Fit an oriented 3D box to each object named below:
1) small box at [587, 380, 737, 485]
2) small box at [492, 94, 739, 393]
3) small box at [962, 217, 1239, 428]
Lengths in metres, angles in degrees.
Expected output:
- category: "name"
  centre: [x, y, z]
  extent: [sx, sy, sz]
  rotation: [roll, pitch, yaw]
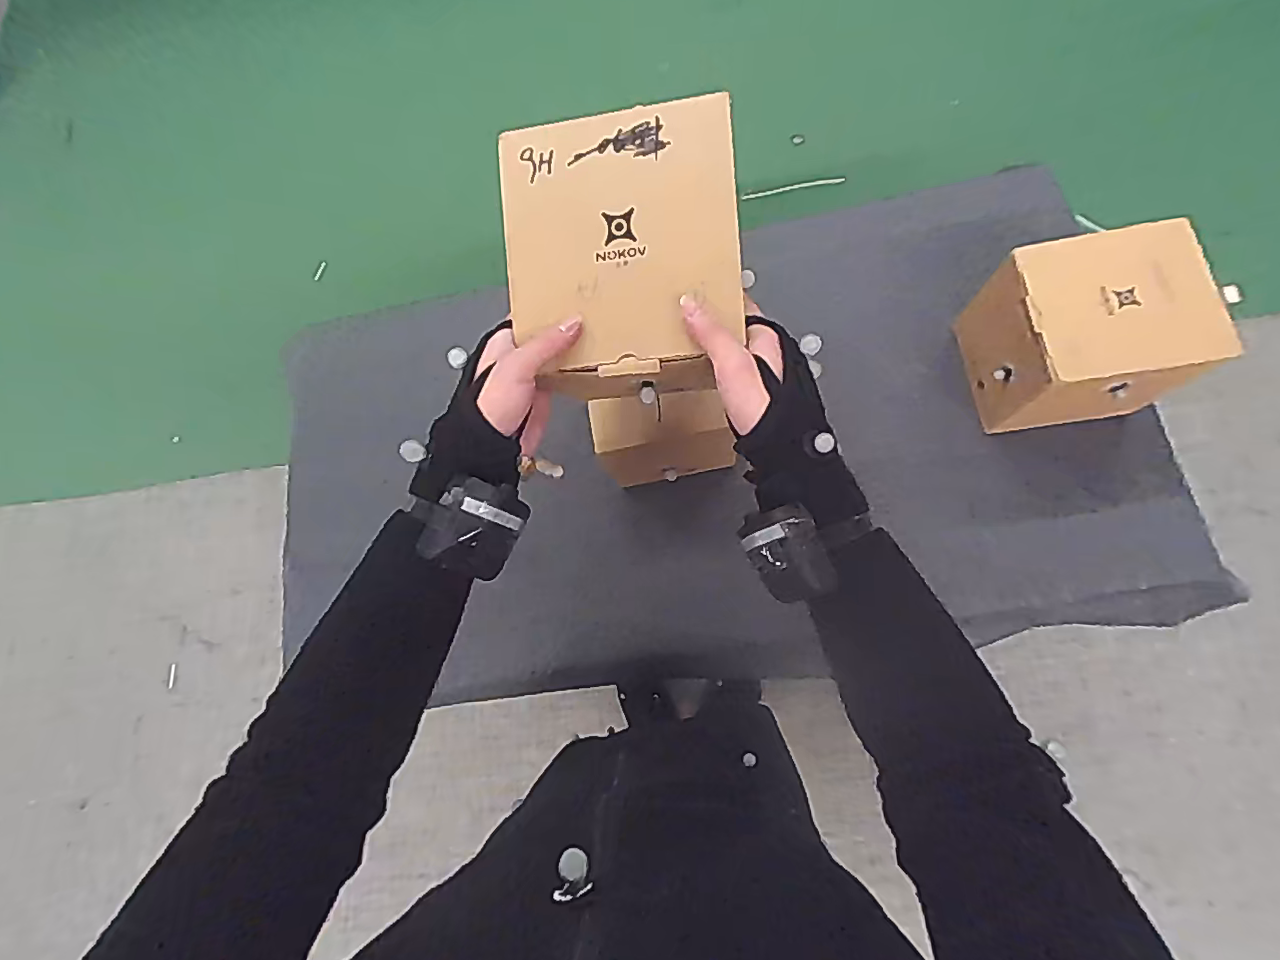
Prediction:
- category: "small box"
  centre: [0.027, -0.106, 0.704]
  extent: [0.168, 0.176, 0.179]
  rotation: [-11, 75, 7]
- category: "small box"
  centre: [-0.005, -0.169, 0.453]
  extent: [0.168, 0.176, 0.179]
  rotation: [-4, 92, 10]
- category: "small box"
  centre: [0.513, -0.171, 0.641]
  extent: [0.179, 0.176, 0.168]
  rotation: [-8, 76, 6]
